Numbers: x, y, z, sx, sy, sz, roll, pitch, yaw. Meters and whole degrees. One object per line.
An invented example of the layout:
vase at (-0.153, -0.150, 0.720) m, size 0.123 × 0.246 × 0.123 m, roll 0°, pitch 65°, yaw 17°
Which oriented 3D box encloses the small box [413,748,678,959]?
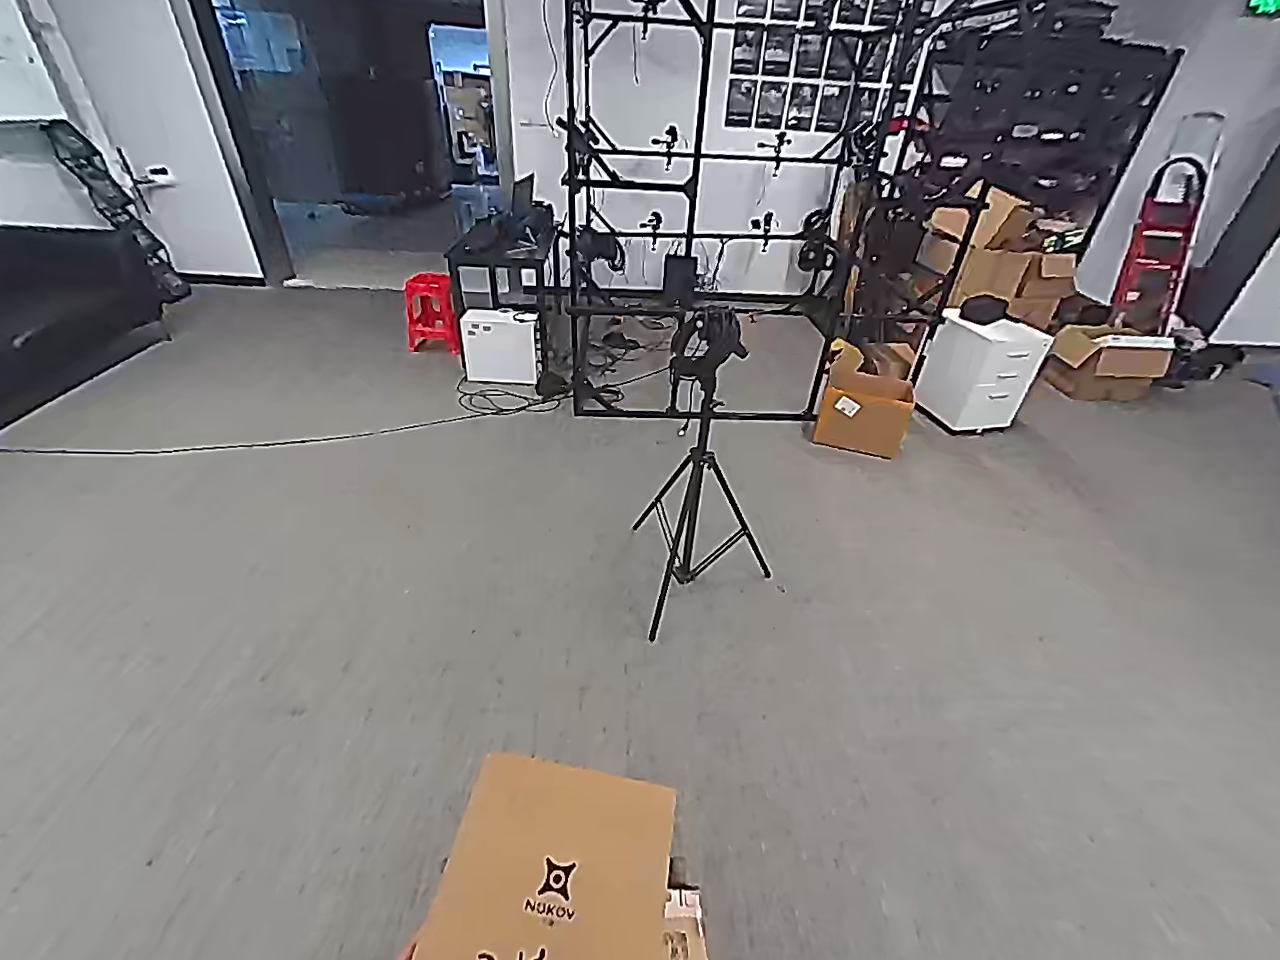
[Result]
small box at (-0.067, 0.357, 0.443) m, size 0.168 × 0.176 × 0.179 m, roll 8°, pitch 40°, yaw 4°
